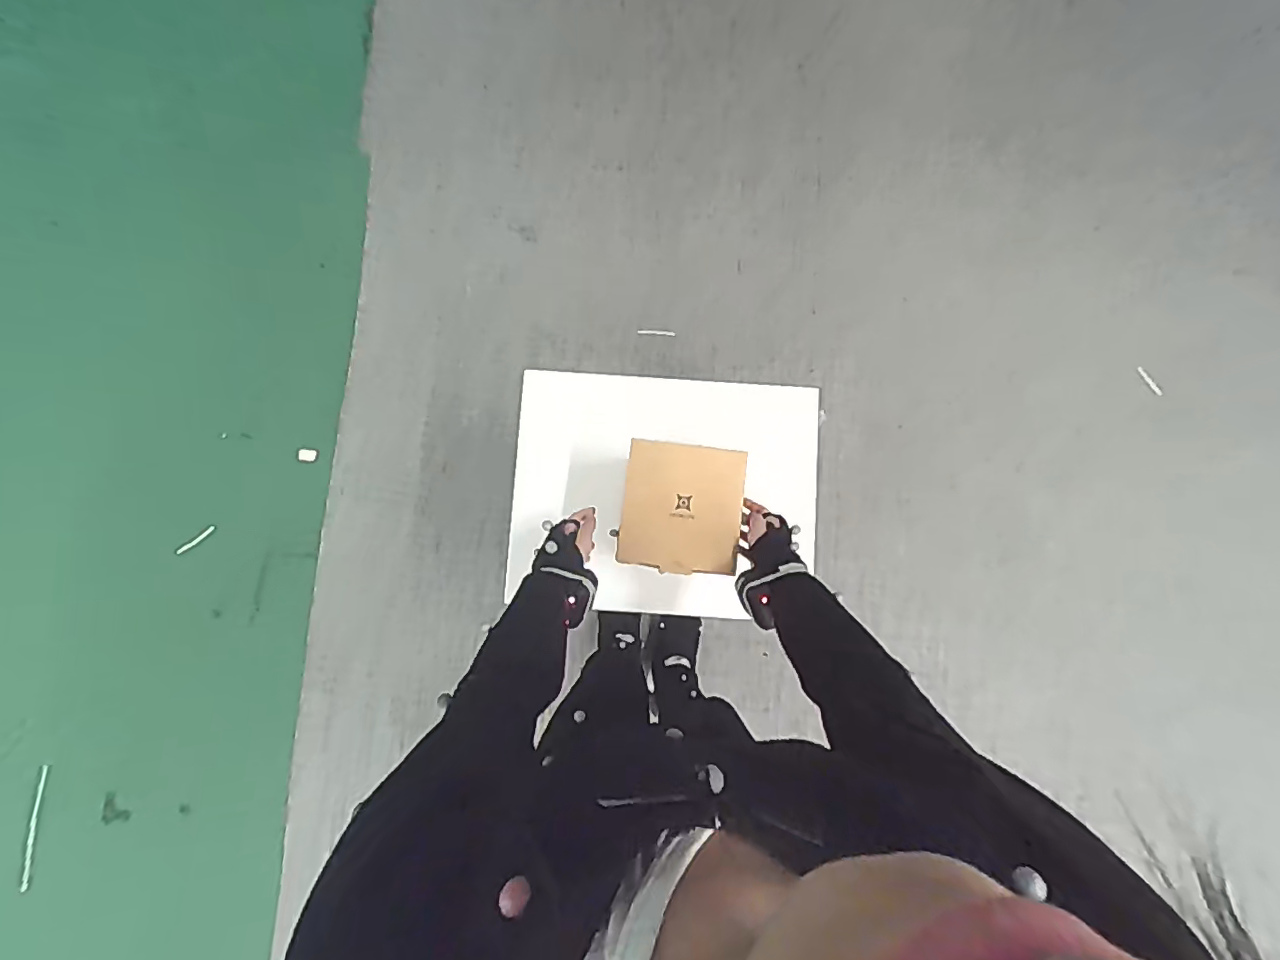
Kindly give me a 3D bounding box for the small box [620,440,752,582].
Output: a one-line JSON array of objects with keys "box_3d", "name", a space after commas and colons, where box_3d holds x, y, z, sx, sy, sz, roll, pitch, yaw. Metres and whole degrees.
[{"box_3d": [0.061, 0.050, 0.800, 0.168, 0.176, 0.179, 6, 83, 1], "name": "small box"}]
